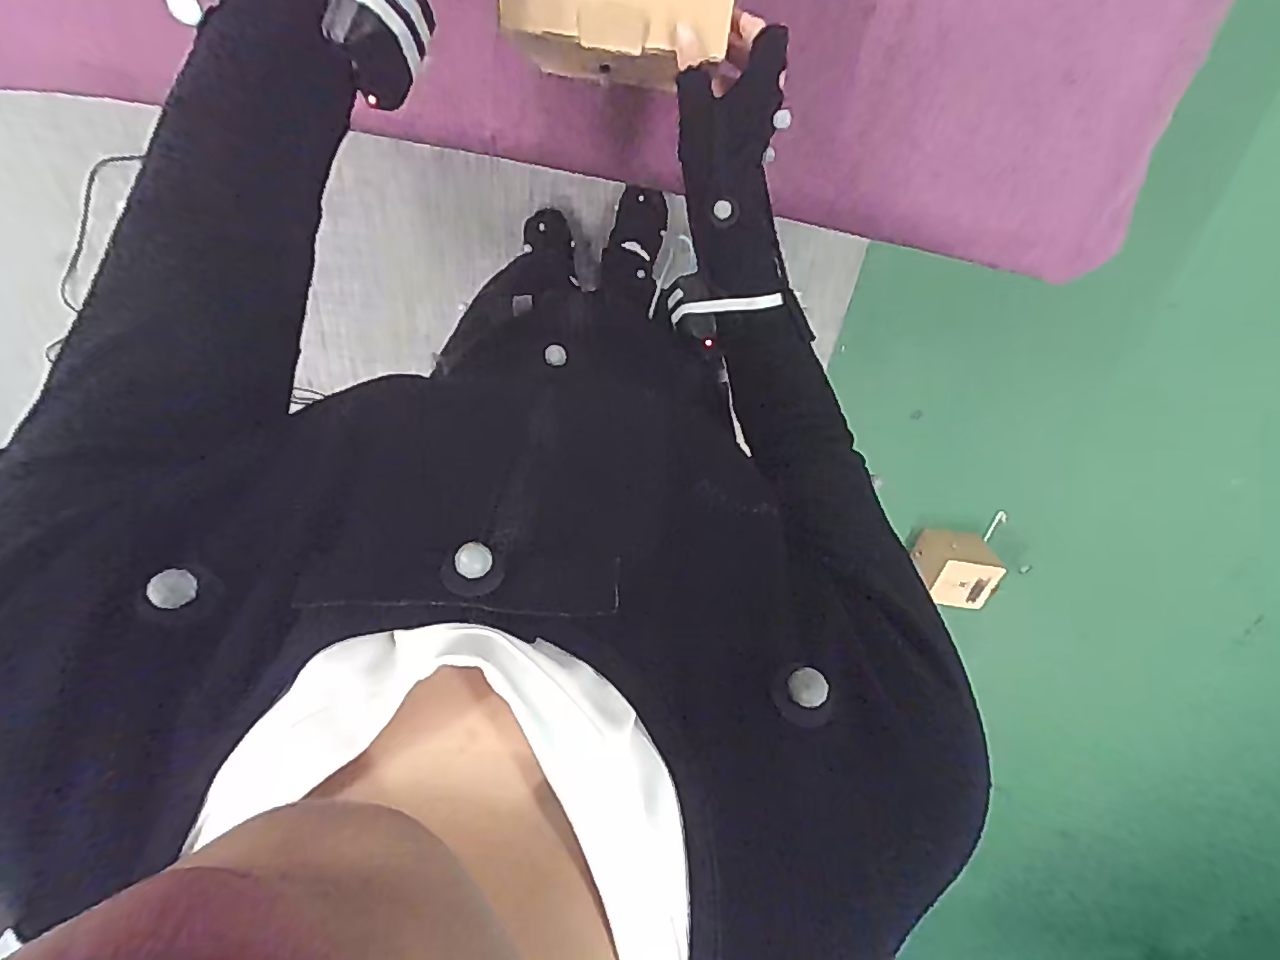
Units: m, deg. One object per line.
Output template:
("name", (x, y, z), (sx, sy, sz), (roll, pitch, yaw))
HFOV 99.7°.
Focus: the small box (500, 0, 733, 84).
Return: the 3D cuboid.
("small box", (-0.007, -0.432, 0.416), (0.168, 0.176, 0.179), (7, 121, -2))
